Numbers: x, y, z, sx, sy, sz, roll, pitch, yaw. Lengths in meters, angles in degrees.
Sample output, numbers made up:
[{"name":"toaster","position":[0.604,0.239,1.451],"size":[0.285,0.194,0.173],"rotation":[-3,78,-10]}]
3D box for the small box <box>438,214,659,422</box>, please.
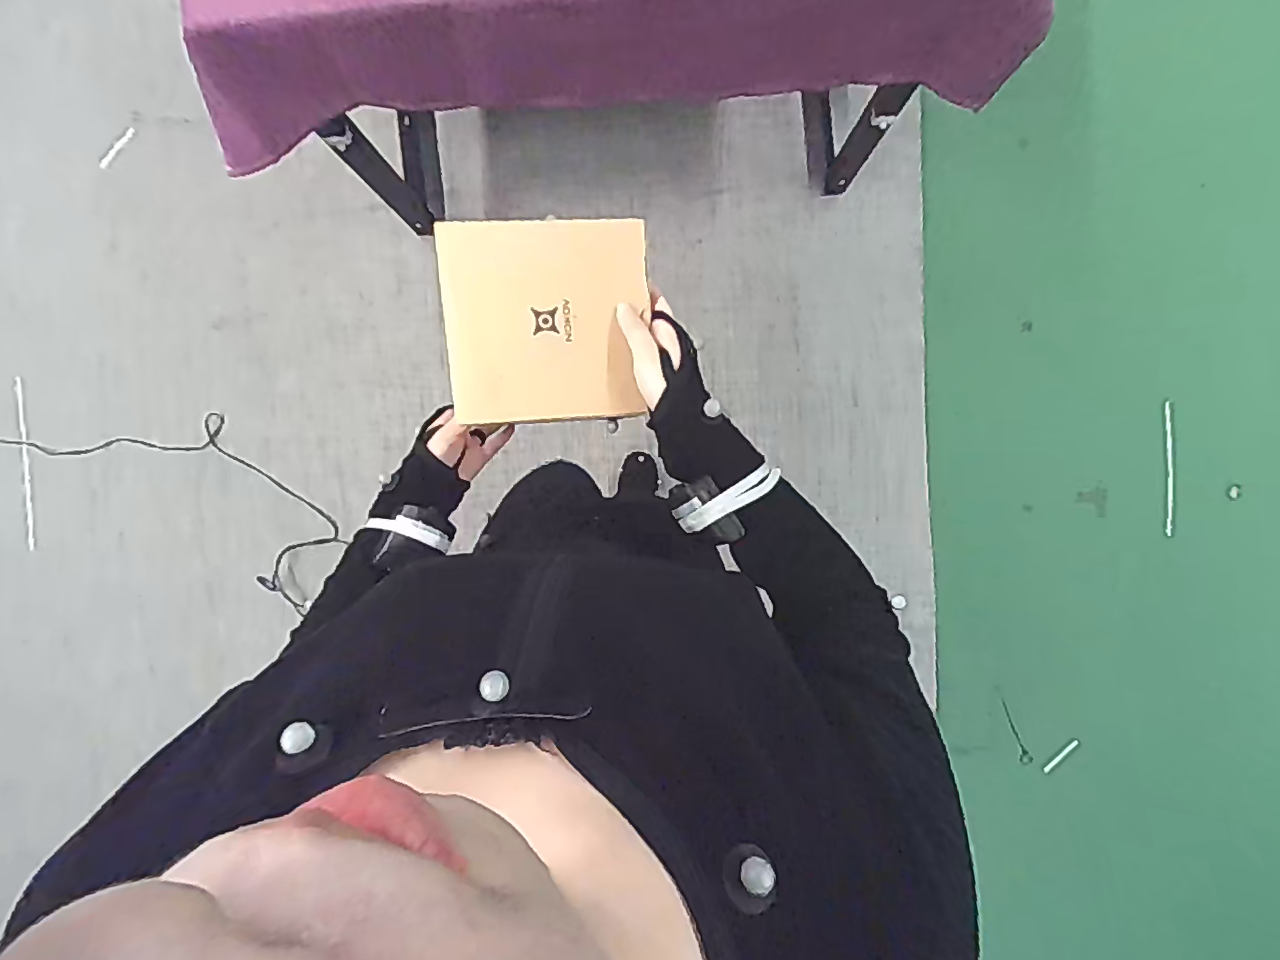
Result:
[{"name":"small box","position":[-0.084,-0.145,0.533],"size":[0.179,0.176,0.168],"rotation":[-5,96,-8]}]
